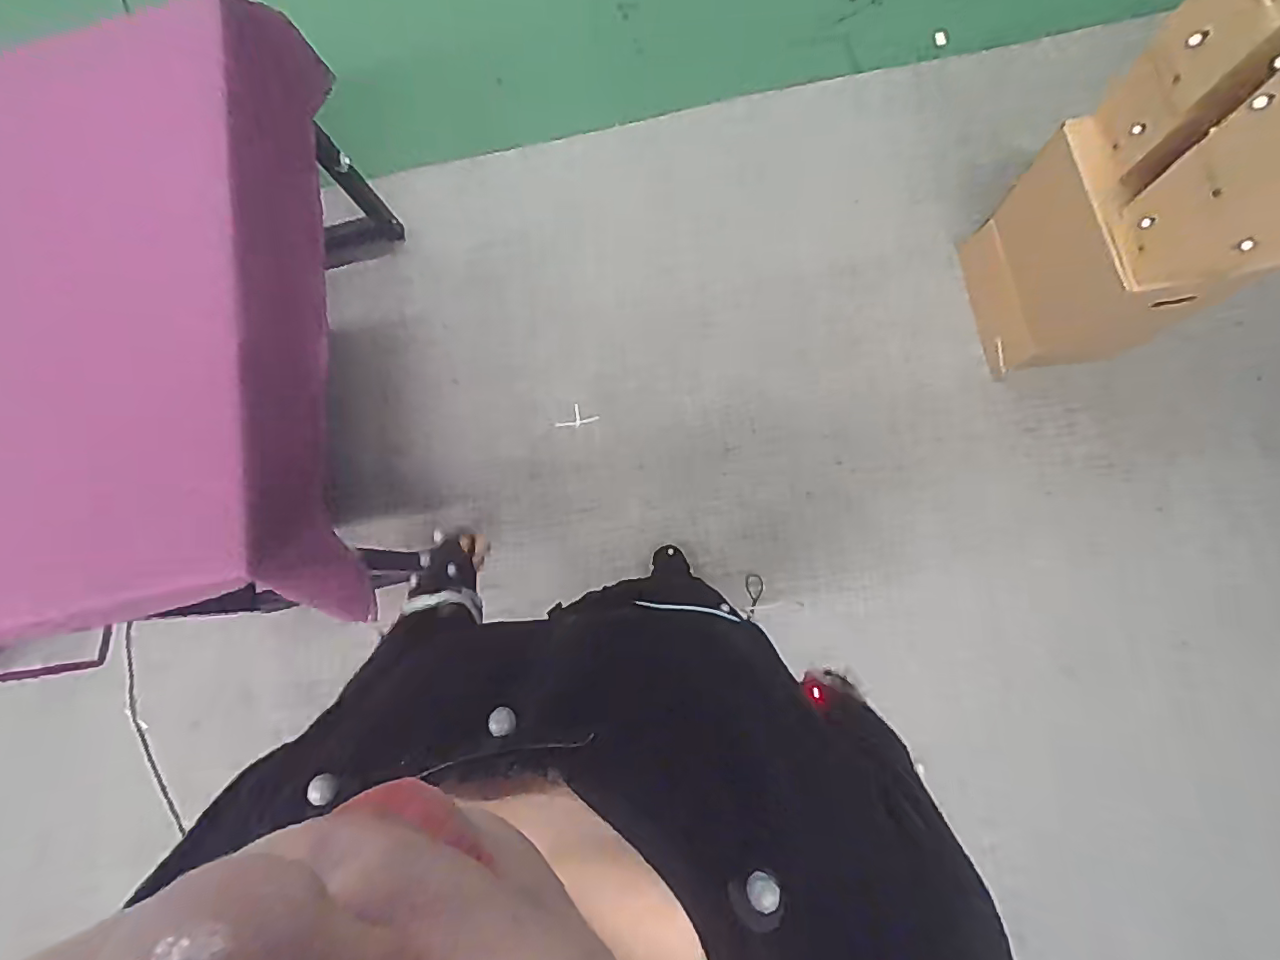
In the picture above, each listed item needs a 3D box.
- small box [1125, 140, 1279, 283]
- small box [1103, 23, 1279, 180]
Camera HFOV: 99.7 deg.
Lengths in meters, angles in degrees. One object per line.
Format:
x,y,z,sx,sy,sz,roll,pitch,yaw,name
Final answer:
1.054,-0.481,0.987,0.179,0.176,0.168,-3,78,7,small box
1.040,-0.710,1.035,0.179,0.176,0.168,-8,80,5,small box
